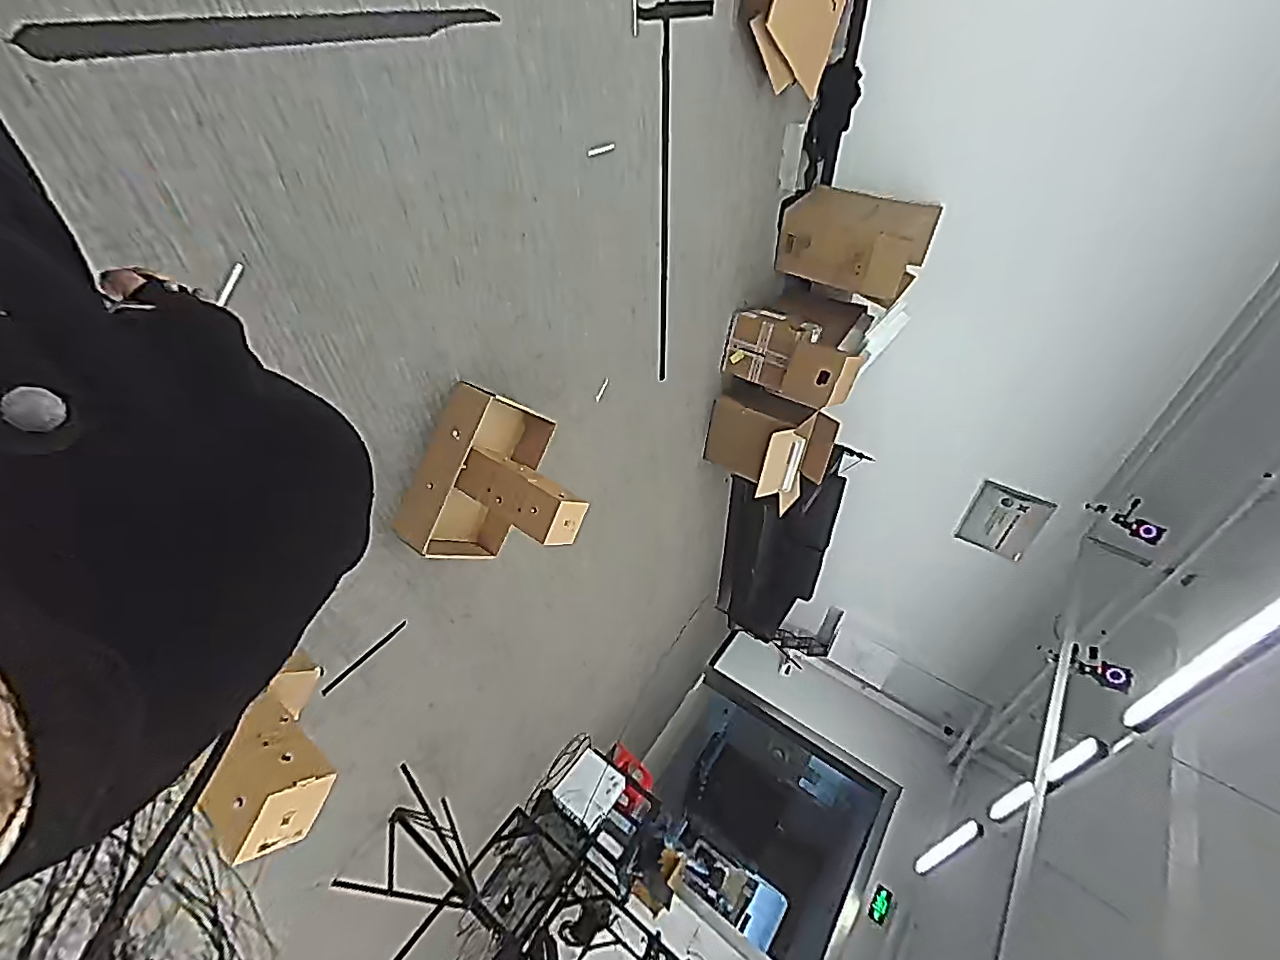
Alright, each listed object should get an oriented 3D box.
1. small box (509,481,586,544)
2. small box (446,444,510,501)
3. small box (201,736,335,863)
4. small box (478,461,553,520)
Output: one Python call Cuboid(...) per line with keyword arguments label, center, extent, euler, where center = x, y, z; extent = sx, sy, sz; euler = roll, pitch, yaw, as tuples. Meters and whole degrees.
Cuboid(label="small box", center=(-0.326, 0.111, 1.893), extent=(0.179, 0.176, 0.168), euler=(9, 108, -62))
Cuboid(label="small box", center=(-0.589, -0.021, 2.037), extent=(0.179, 0.176, 0.168), euler=(19, 97, -63))
Cuboid(label="small box", center=(-0.857, 0.716, 1.244), extent=(0.179, 0.176, 0.168), euler=(-64, 153, -1))
Cuboid(label="small box", center=(-0.456, 0.039, 1.967), extent=(0.179, 0.176, 0.168), euler=(9, 107, -64))
